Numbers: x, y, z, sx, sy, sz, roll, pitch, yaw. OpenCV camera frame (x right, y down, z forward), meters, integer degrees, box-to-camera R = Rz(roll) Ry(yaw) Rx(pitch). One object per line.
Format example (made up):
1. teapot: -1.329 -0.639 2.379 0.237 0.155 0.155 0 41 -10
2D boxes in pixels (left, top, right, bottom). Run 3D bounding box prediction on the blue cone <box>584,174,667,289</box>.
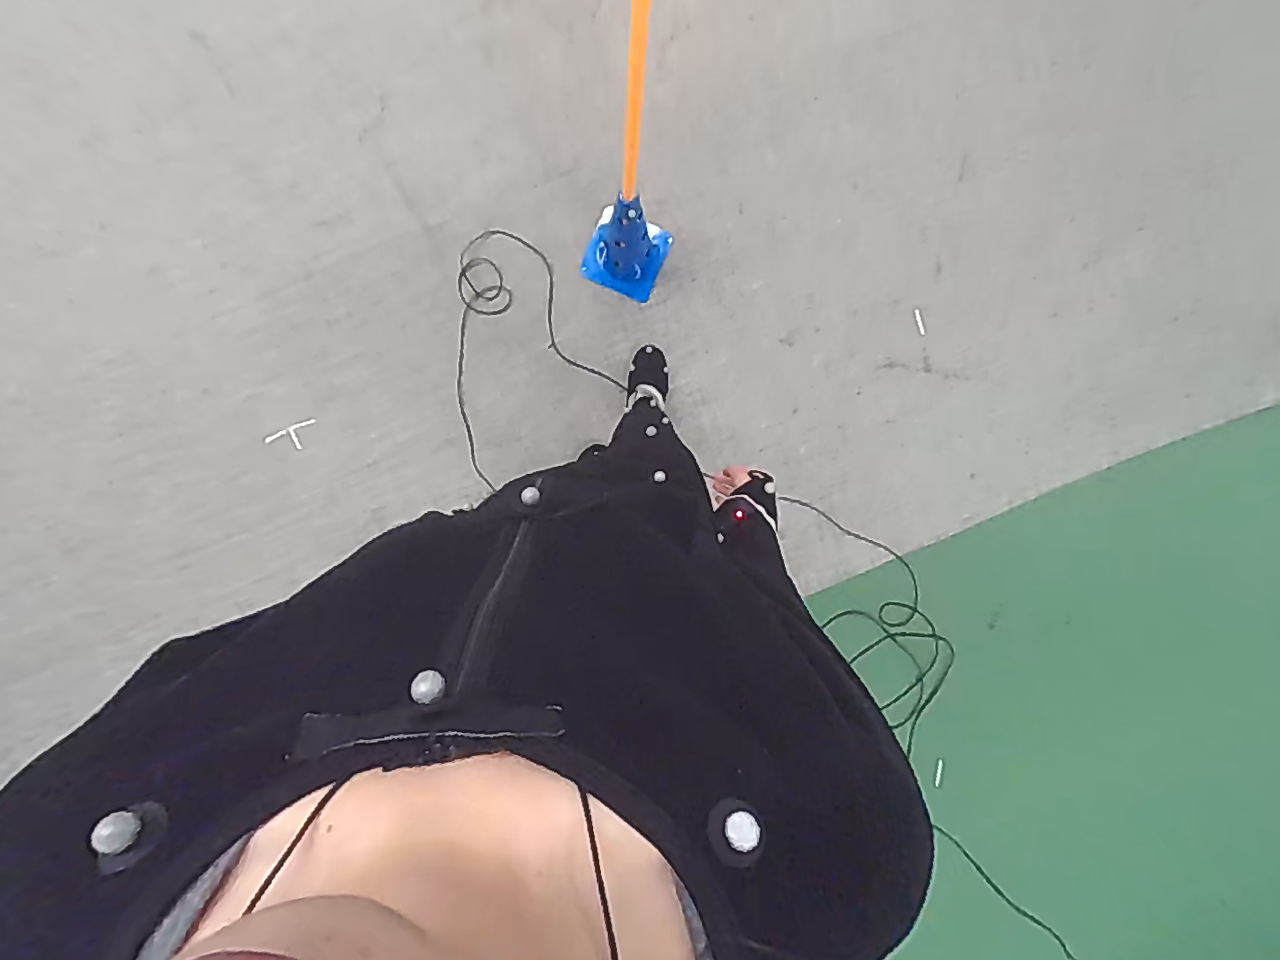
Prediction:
1. blue cone: -0.030 -0.603 1.251 0.192 0.380 0.193 22 93 -5
